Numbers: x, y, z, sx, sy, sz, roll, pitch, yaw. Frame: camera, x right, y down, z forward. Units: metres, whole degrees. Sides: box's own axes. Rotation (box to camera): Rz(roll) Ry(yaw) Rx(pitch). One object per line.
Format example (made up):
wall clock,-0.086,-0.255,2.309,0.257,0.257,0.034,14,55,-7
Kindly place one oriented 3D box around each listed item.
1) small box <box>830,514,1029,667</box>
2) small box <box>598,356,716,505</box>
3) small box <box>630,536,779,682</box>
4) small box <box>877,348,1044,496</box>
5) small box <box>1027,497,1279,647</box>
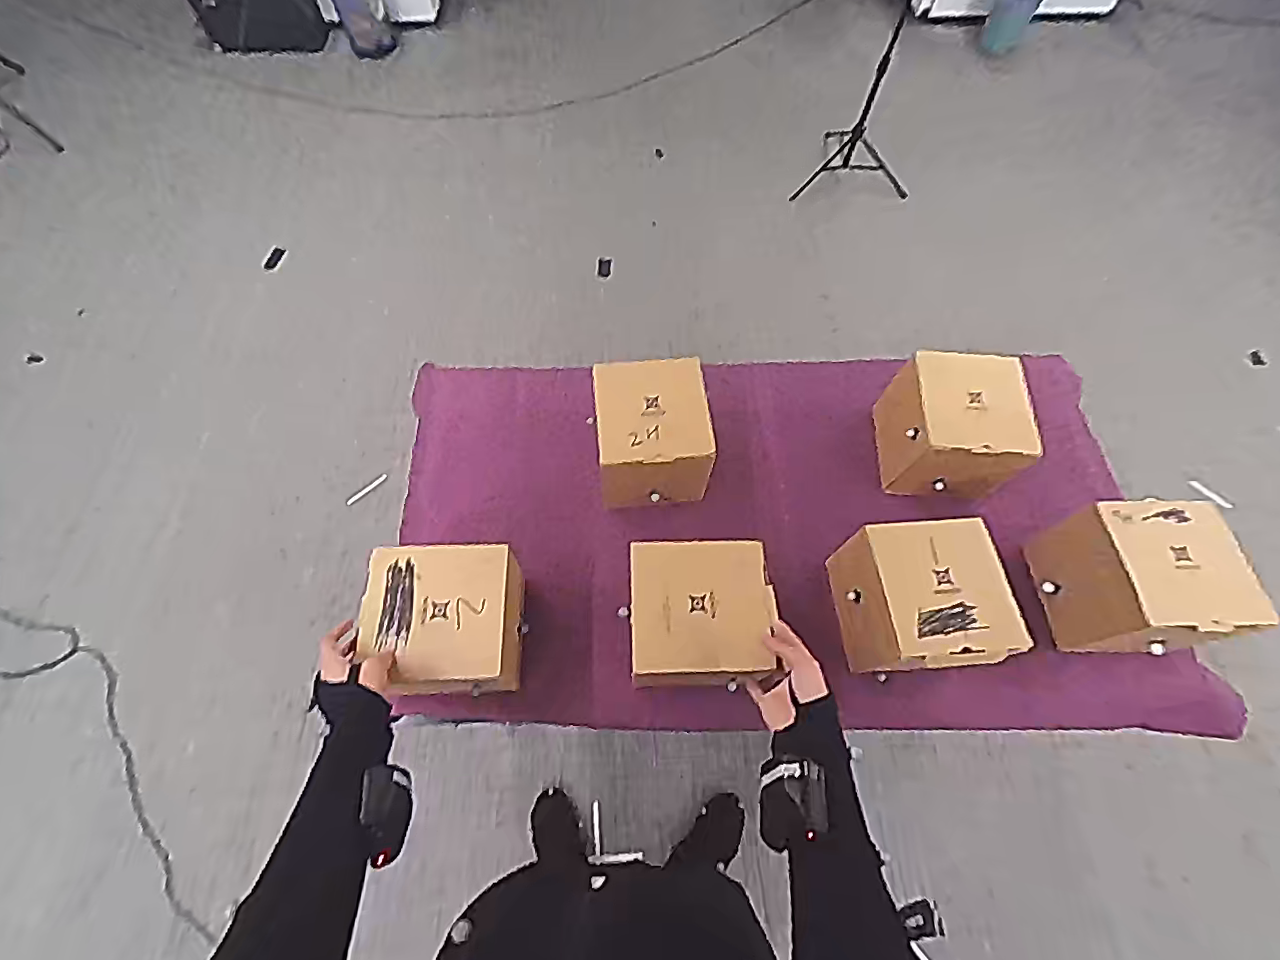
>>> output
small box,0.387,0.163,0.761,0.168,0.176,0.179,-3,63,-2
small box,0.020,-0.076,0.872,0.168,0.176,0.179,-5,65,-3
small box,0.077,0.183,0.747,0.179,0.176,0.168,0,63,-2
small box,0.507,-0.090,0.888,0.168,0.176,0.179,4,66,1
small box,0.708,0.138,0.775,0.168,0.176,0.179,0,63,0
